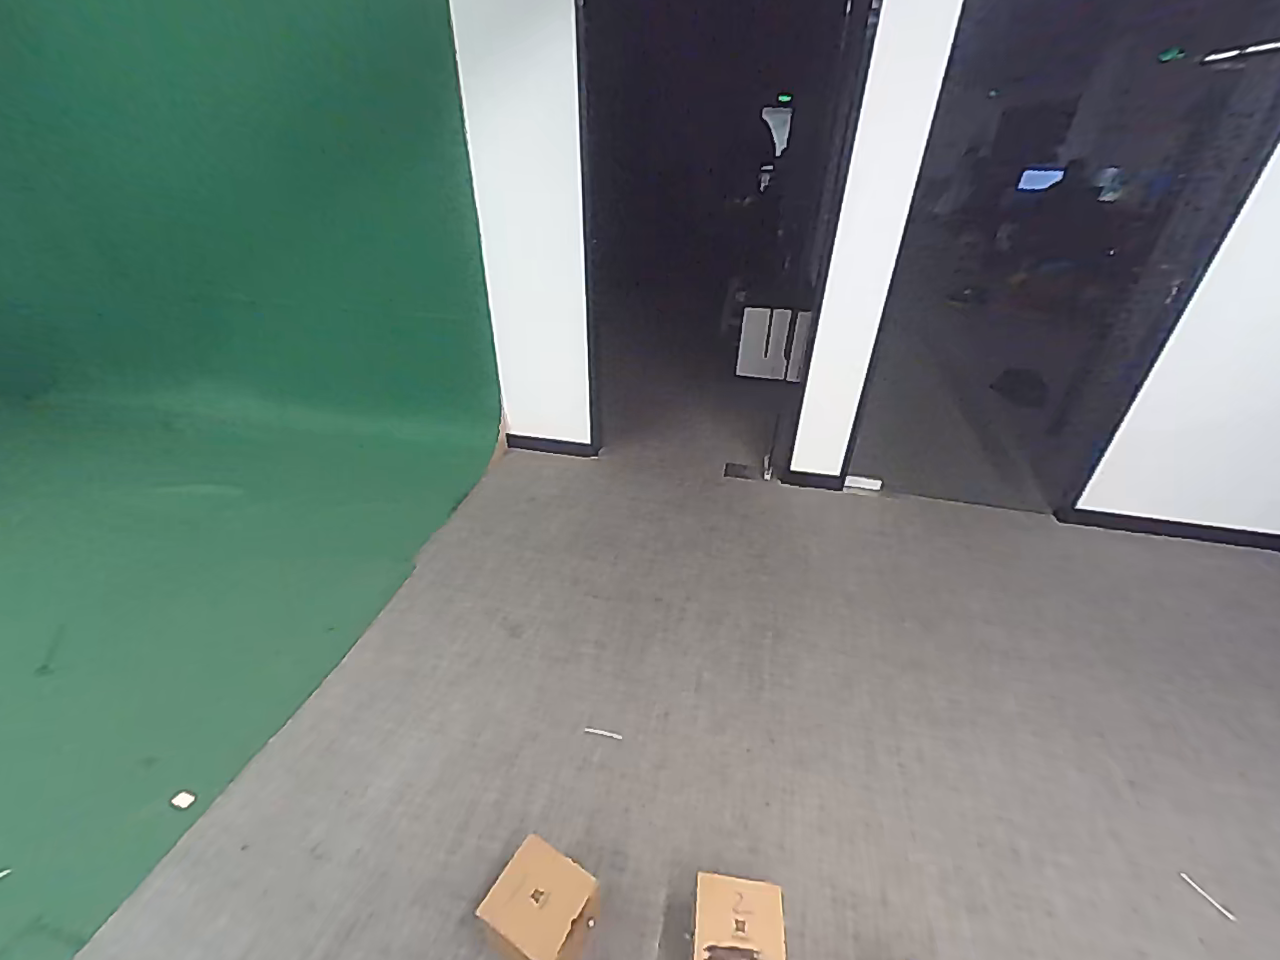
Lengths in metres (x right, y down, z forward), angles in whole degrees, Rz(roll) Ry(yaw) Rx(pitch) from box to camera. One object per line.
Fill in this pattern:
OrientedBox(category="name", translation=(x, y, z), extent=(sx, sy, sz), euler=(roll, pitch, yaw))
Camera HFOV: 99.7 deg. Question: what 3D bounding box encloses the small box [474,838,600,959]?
OrientedBox(category="small box", translation=(-0.193, 0.865, 1.066), extent=(0.179, 0.176, 0.168), euler=(14, 34, 26))
